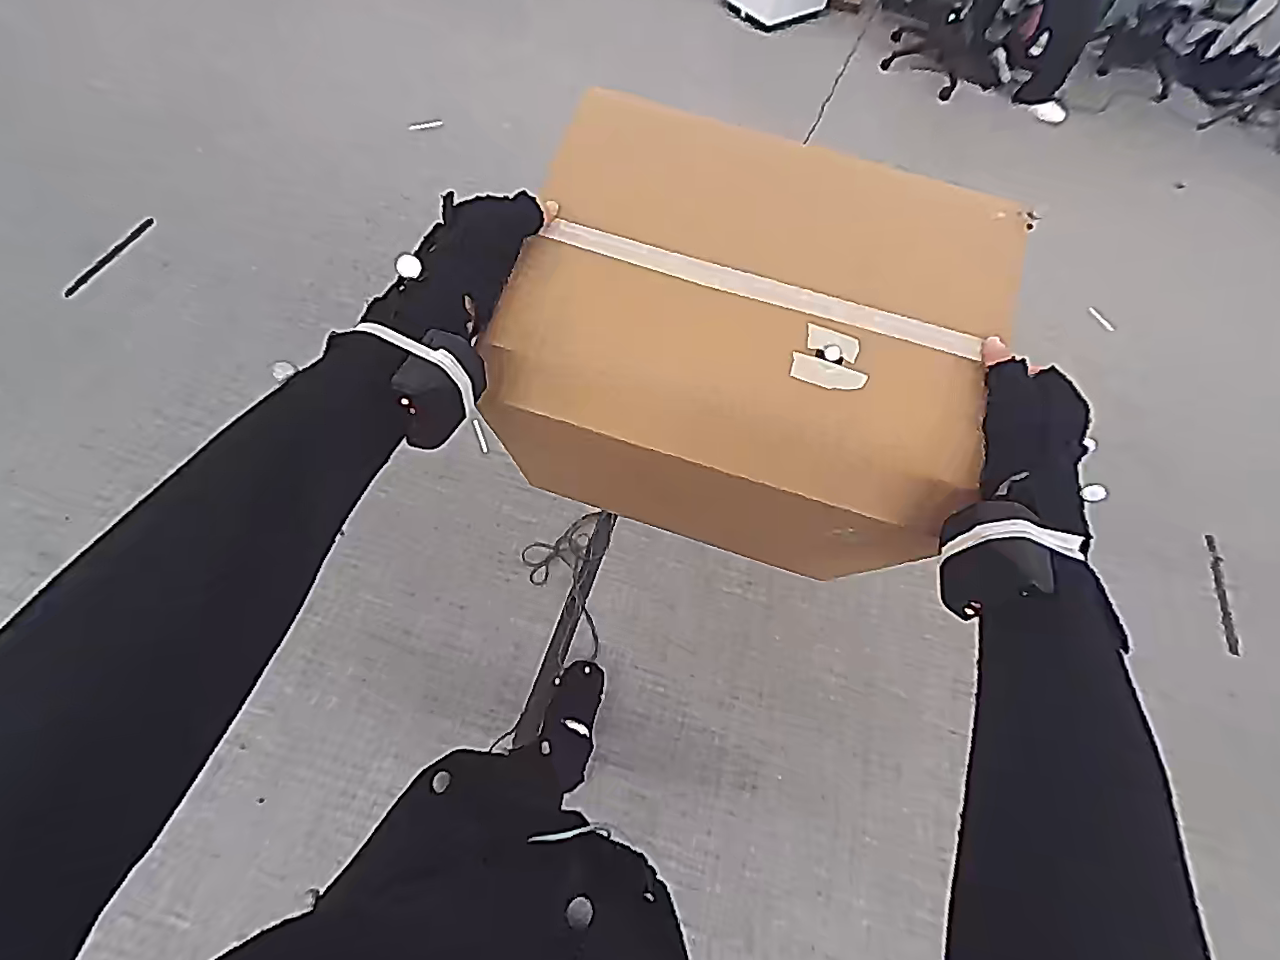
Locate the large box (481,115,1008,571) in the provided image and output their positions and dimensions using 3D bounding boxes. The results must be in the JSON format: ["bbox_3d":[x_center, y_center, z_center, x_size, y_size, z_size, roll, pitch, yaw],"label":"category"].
[{"bbox_3d":[0.097,-0.113,0.607,0.408,0.320,0.320,18,76,3],"label":"large box"}]
